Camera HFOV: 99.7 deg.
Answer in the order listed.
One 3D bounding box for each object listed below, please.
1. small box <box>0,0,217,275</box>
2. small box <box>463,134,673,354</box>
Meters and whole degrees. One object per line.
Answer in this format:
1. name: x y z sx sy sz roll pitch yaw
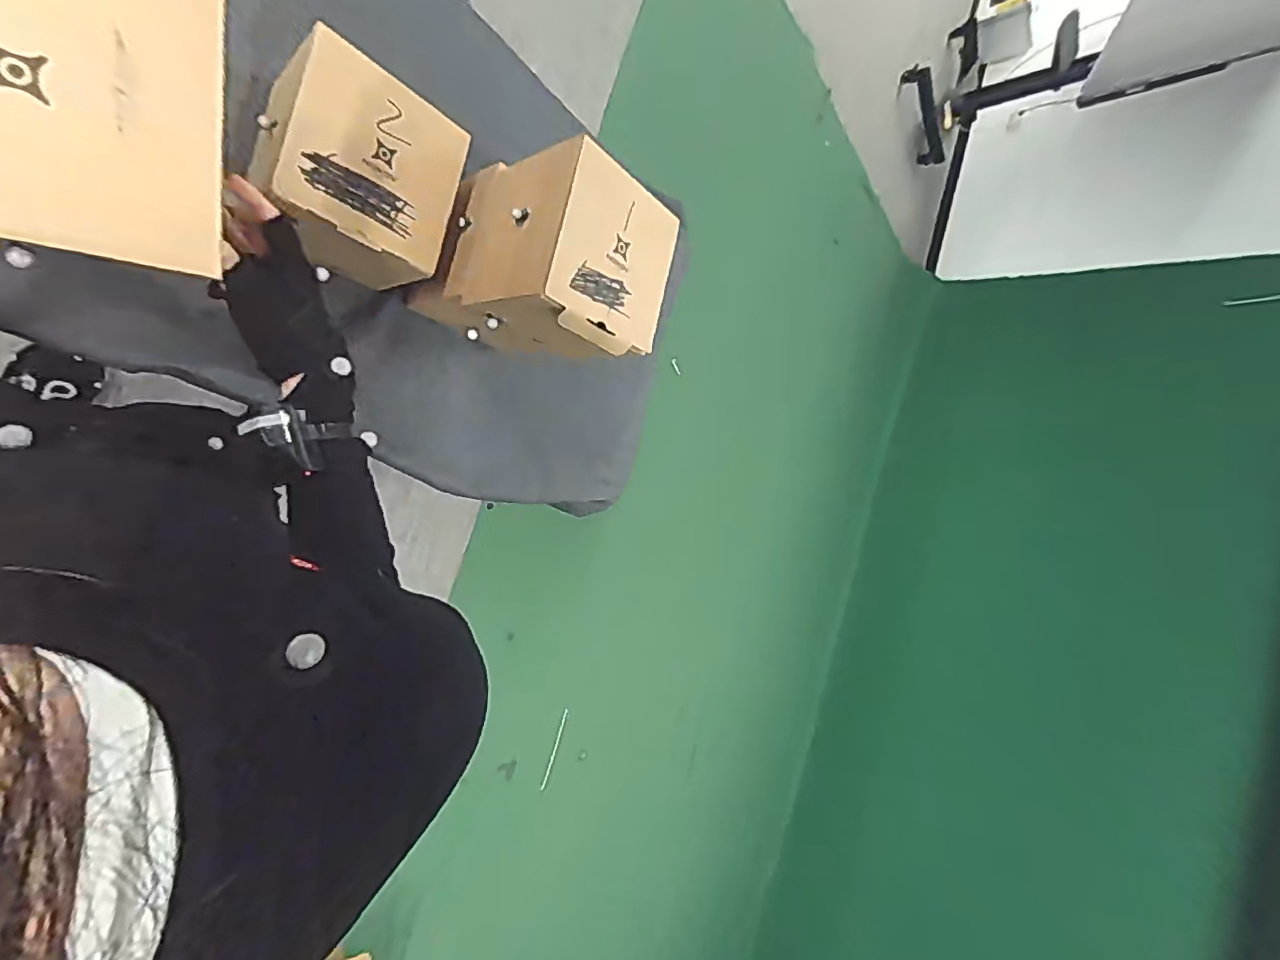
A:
1. small box: -0.375 -0.230 0.332 0.179 0.176 0.168 1 106 -40
2. small box: -0.091 -0.263 0.656 0.168 0.176 0.179 18 85 -47
